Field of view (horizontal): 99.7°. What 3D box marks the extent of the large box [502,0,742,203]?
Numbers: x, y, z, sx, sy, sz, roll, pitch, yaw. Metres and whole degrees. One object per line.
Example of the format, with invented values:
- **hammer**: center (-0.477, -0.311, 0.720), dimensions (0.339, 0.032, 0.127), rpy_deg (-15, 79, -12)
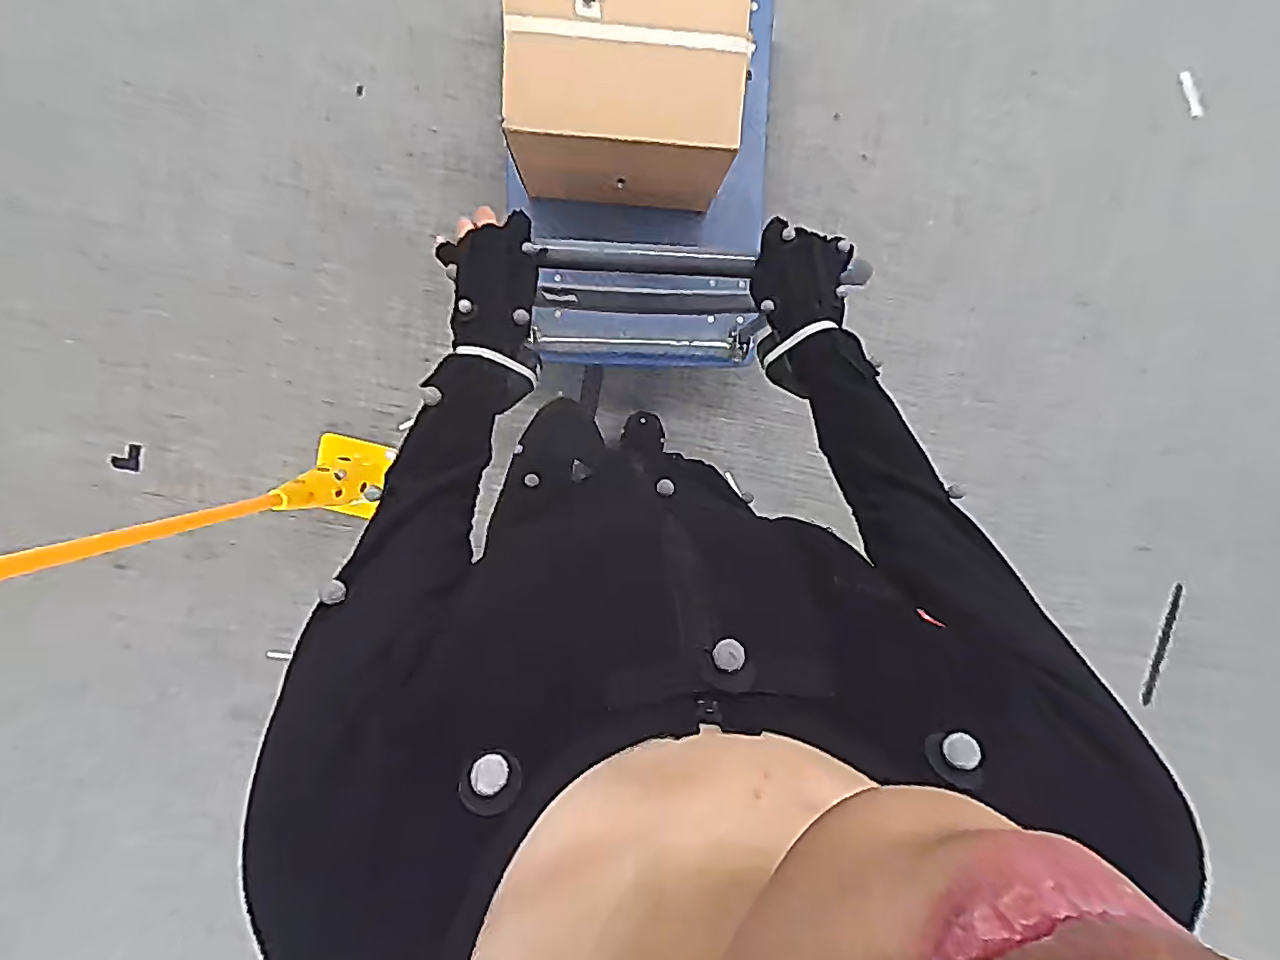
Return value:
- **large box**: center (-0.035, -0.757, 1.047), dimensions (0.408, 0.320, 0.320), rpy_deg (3, 98, -3)
